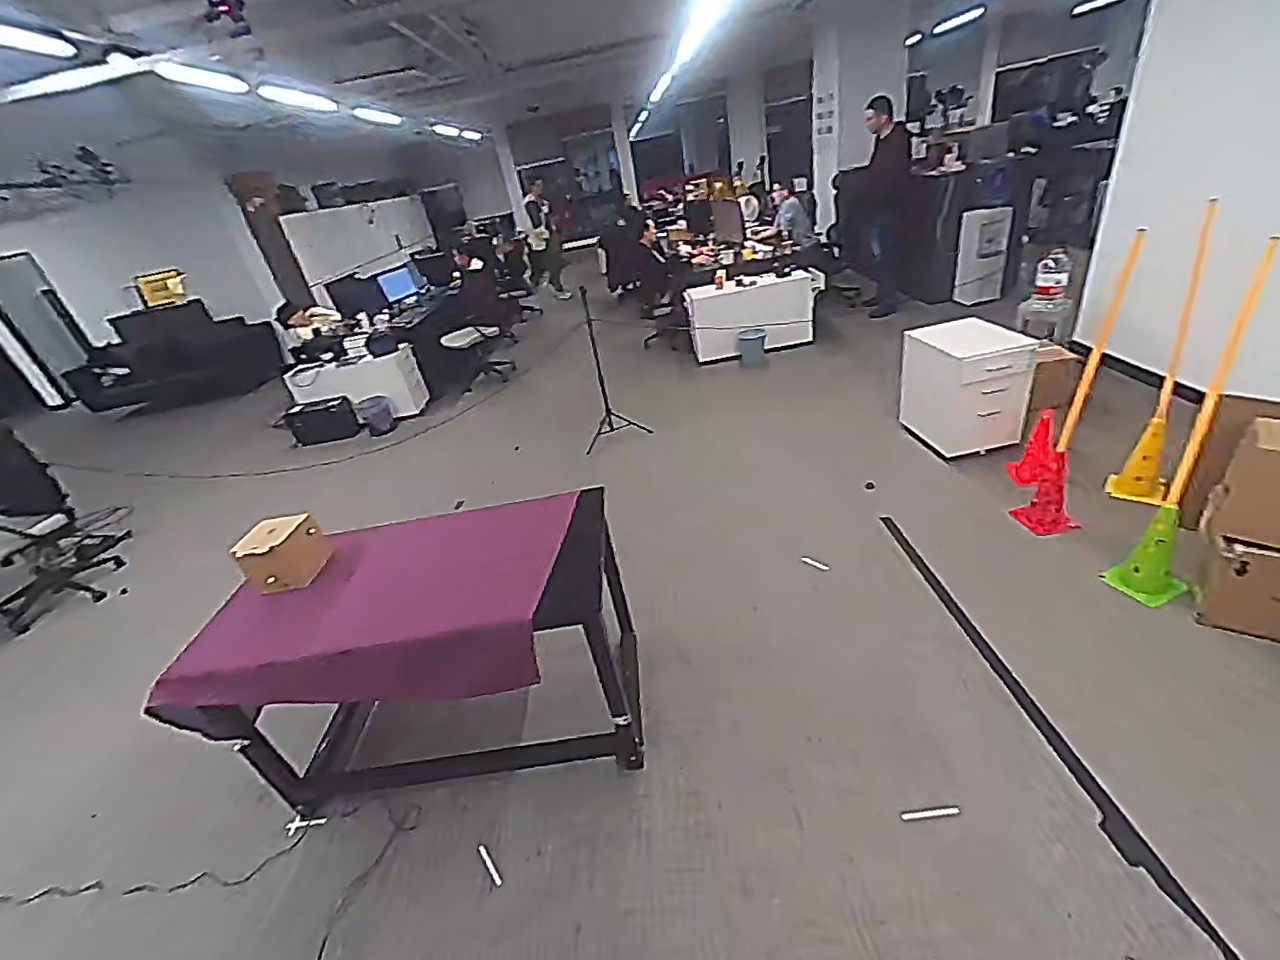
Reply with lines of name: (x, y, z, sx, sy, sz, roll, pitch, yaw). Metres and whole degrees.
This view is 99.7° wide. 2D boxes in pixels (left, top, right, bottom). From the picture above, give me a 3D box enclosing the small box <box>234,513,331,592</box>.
small box: (-1.123, 0.230, 1.720, 0.168, 0.176, 0.179, -9, 31, 5)
